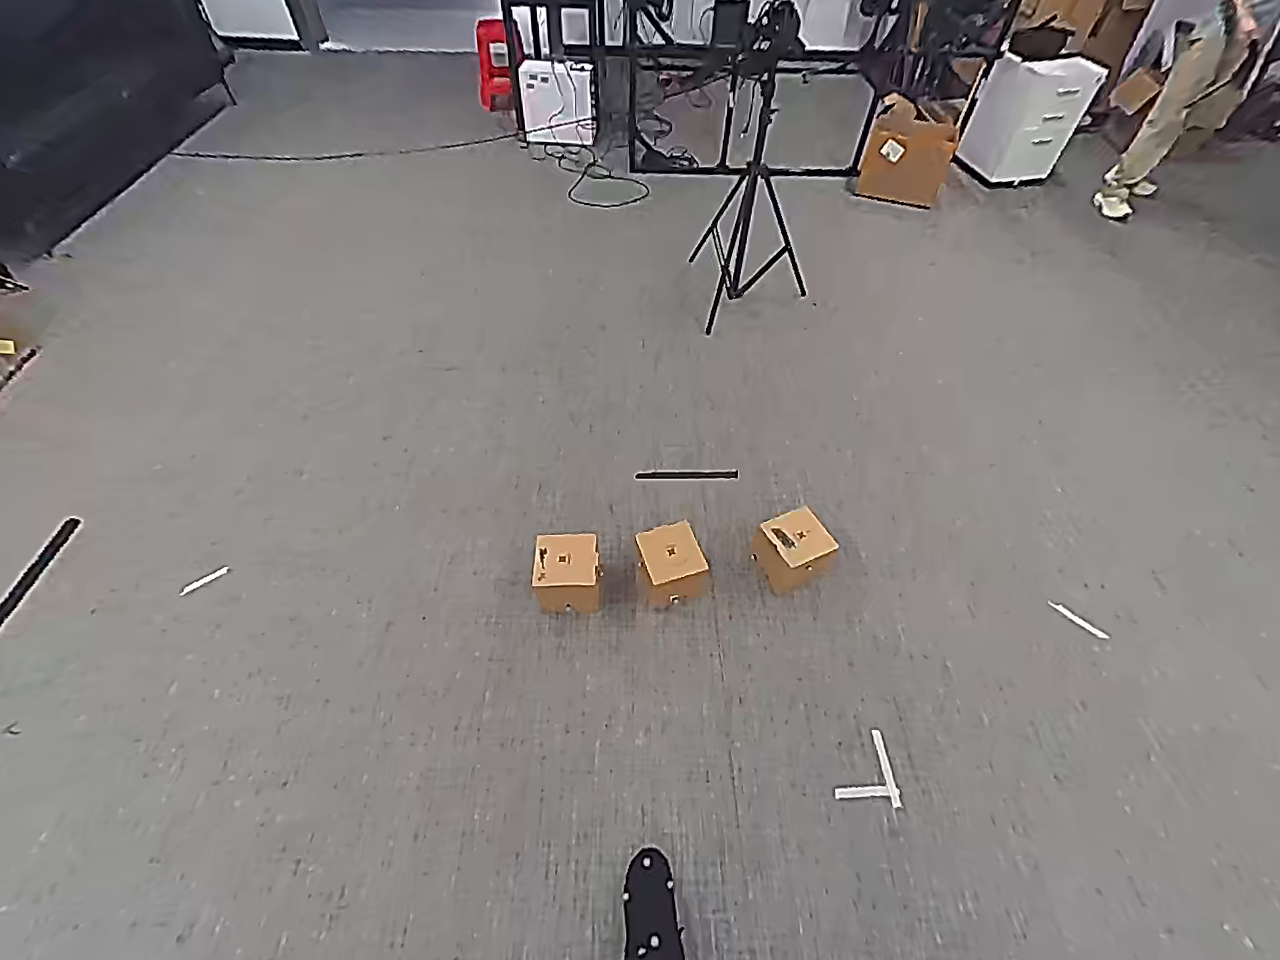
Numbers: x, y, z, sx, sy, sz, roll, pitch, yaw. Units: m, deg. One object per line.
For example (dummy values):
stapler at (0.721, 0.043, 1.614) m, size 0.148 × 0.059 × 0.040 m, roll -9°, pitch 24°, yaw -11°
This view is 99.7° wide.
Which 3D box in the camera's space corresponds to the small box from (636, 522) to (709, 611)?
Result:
small box at (0.088, 0.257, 1.596) m, size 0.168 × 0.176 × 0.179 m, roll -15°, pitch 54°, yaw -12°

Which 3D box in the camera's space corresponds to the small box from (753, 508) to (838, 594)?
small box at (0.457, 0.218, 1.634) m, size 0.179 × 0.176 × 0.168 m, roll -19°, pitch 55°, yaw -17°

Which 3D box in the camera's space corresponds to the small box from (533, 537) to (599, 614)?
small box at (-0.208, 0.280, 1.573) m, size 0.179 × 0.176 × 0.168 m, roll -1°, pitch 51°, yaw -3°
